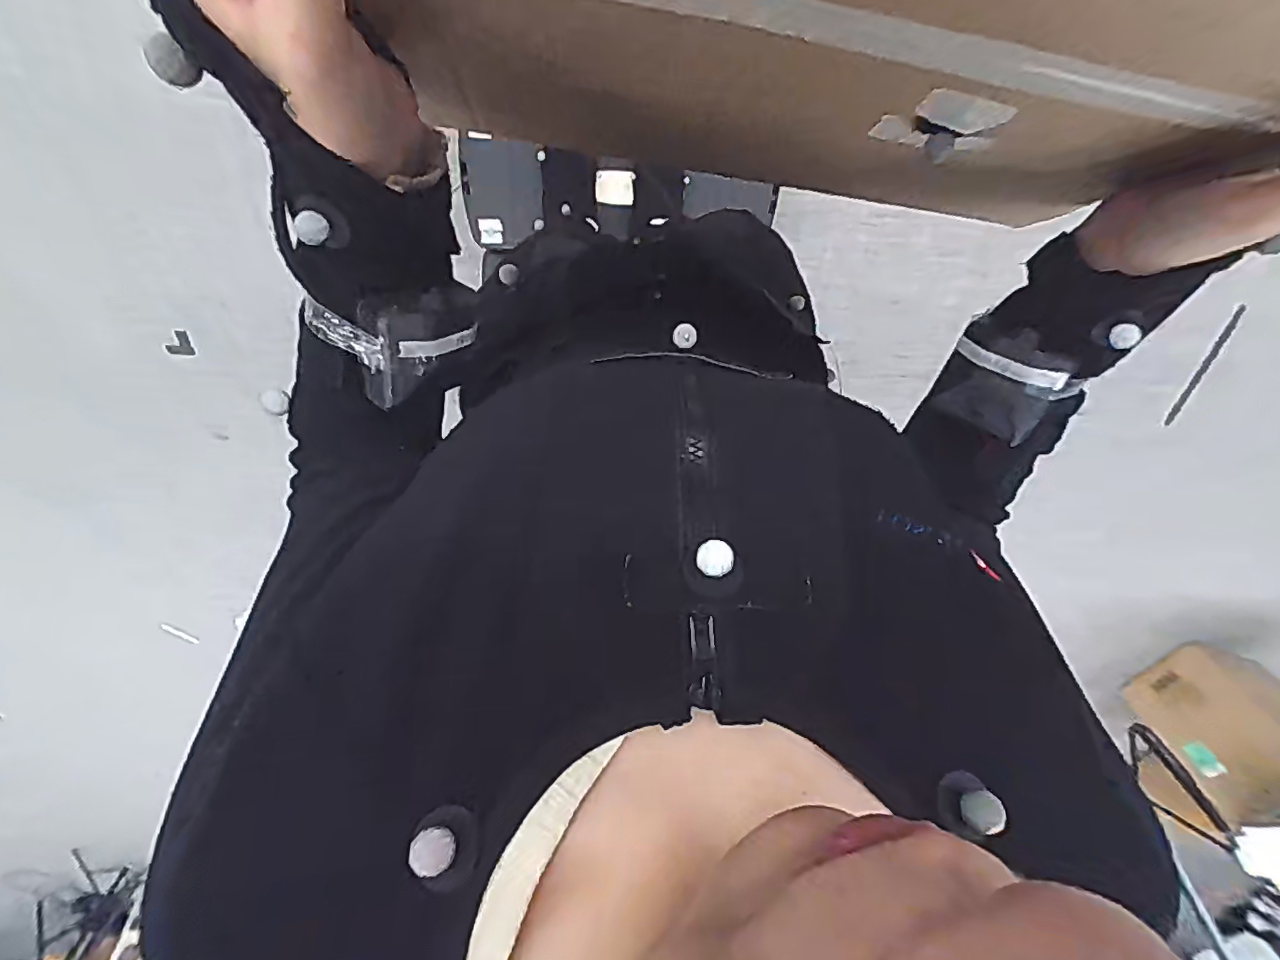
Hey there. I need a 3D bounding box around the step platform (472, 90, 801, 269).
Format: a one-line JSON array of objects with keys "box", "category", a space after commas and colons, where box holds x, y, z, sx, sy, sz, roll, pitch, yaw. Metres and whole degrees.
[{"box": [-0.010, -0.661, 1.178, 0.684, 0.204, 0.286, 5, 125, -8], "category": "step platform"}]
